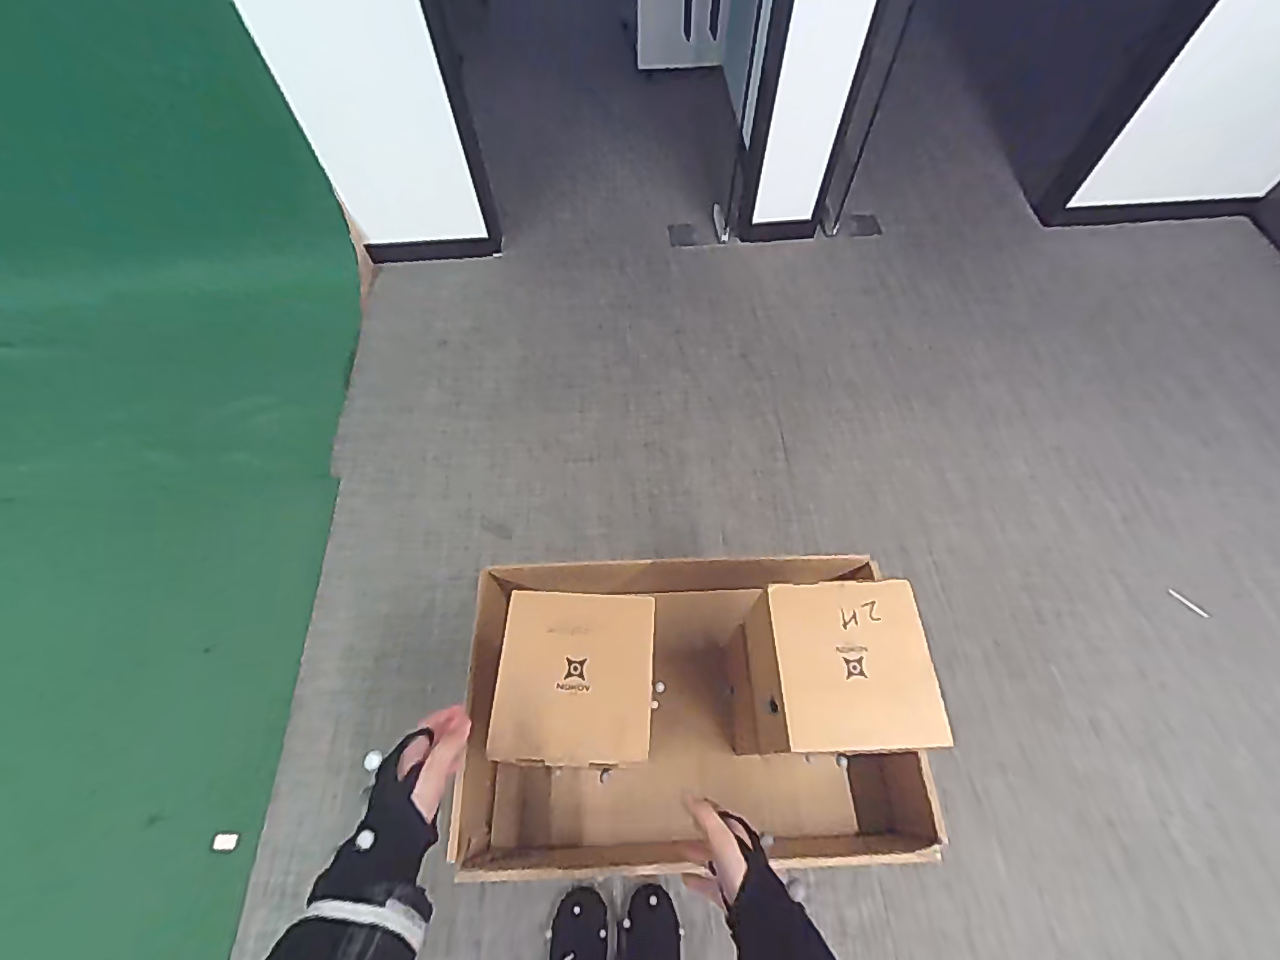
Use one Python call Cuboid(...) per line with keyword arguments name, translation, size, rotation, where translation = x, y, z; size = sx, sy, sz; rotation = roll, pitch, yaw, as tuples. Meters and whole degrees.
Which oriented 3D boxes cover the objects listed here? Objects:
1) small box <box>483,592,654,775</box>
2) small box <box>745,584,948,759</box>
Cuboid(name="small box", translation=(-0.070, 0.247, 0.644), size=(0.168, 0.176, 0.179), rotation=(3, 61, 1))
Cuboid(name="small box", translation=(0.226, 0.233, 0.644), size=(0.168, 0.176, 0.179), rotation=(-1, 61, 0))
